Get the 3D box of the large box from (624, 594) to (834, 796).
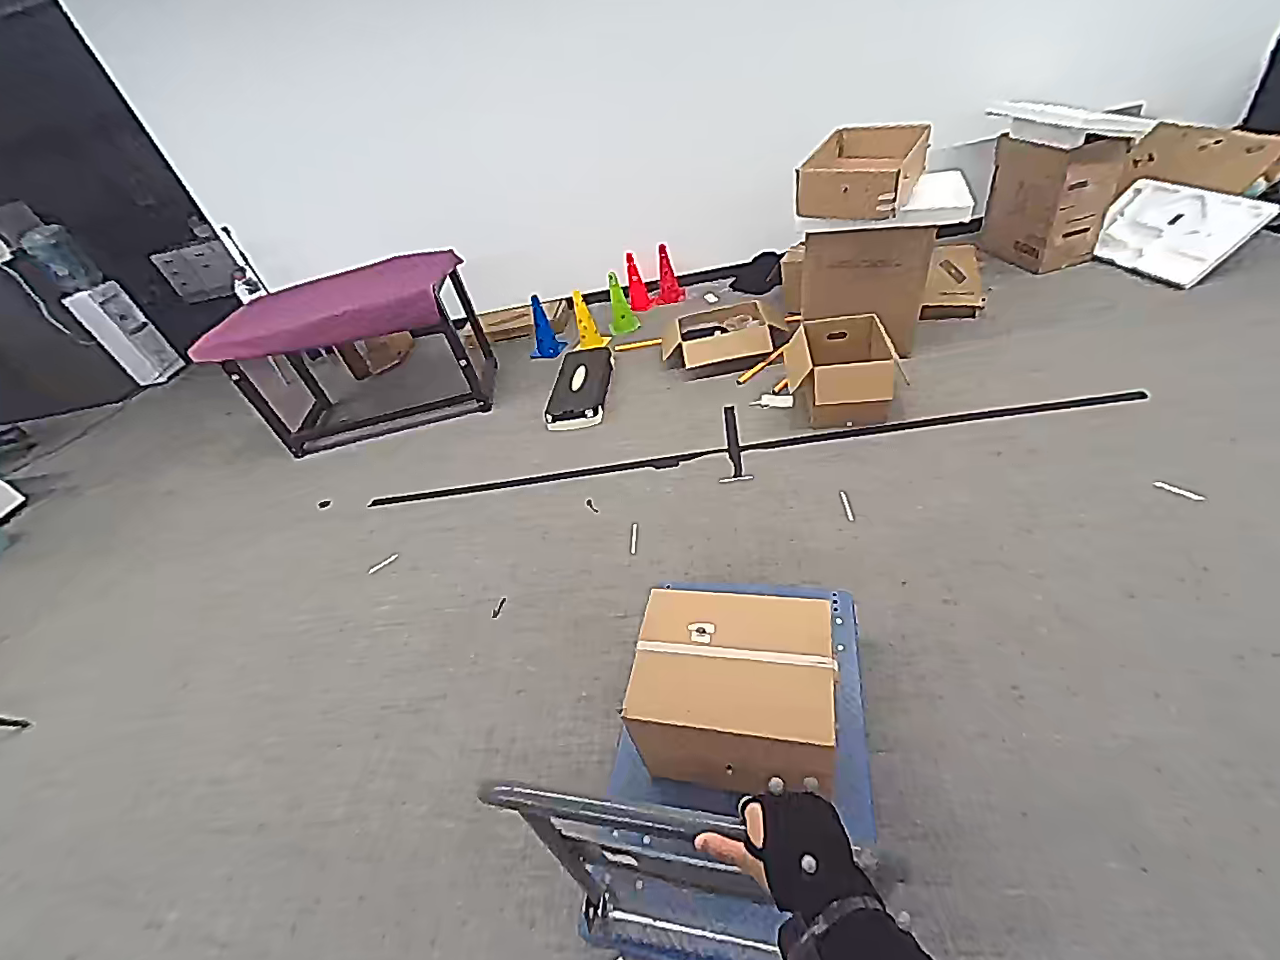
[{"bbox_3d":[0.220,0.480,1.229,0.408,0.320,0.320,-1,41,18],"label":"large box"}]
